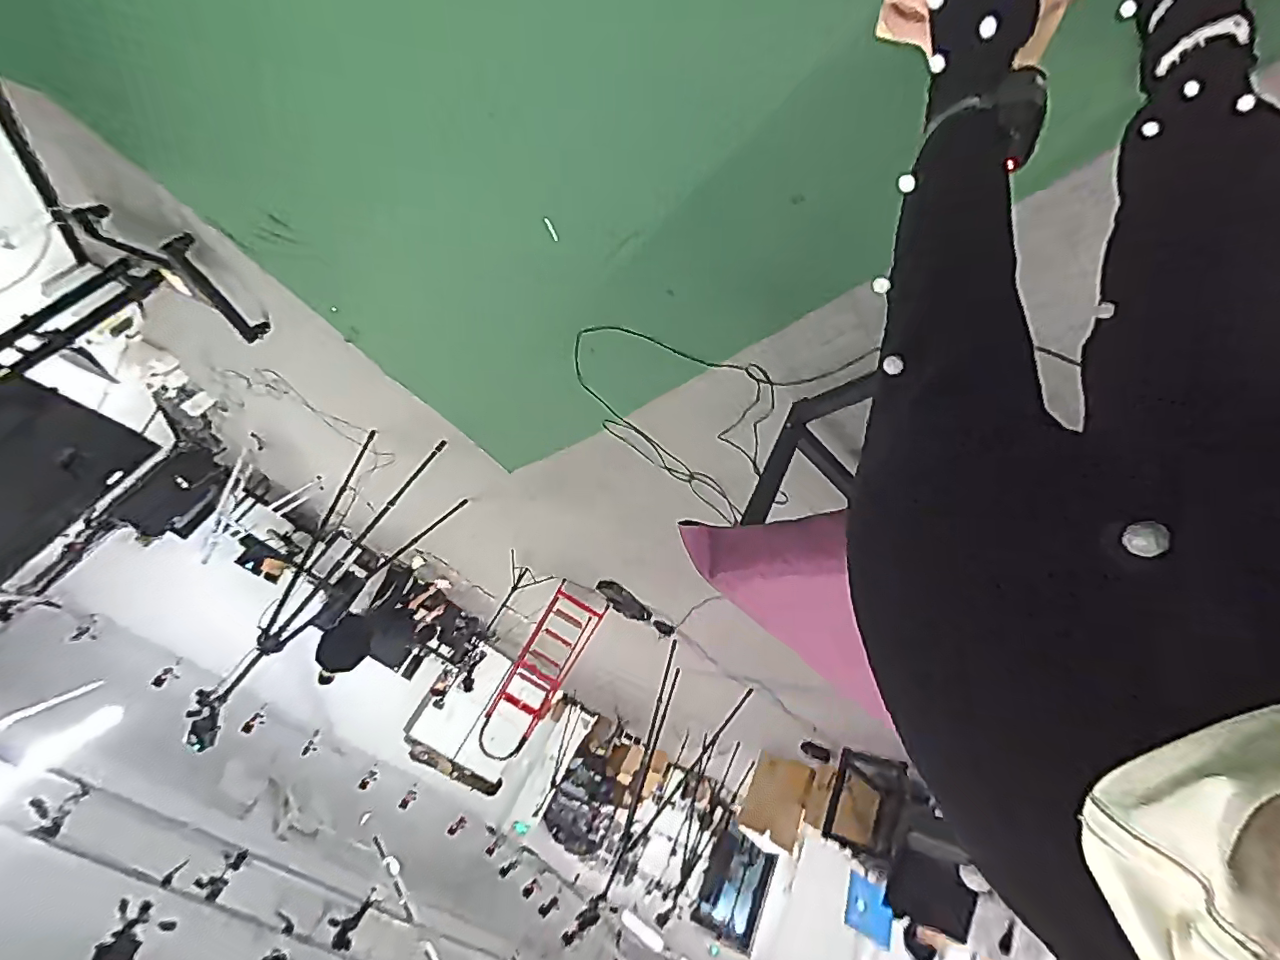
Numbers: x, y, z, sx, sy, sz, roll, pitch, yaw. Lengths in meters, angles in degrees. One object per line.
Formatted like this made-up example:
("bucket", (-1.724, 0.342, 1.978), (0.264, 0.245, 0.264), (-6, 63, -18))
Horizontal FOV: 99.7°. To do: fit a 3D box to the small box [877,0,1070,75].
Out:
("small box", (0.371, -0.551, 0.542), (0.168, 0.176, 0.179), (28, 147, 16))
